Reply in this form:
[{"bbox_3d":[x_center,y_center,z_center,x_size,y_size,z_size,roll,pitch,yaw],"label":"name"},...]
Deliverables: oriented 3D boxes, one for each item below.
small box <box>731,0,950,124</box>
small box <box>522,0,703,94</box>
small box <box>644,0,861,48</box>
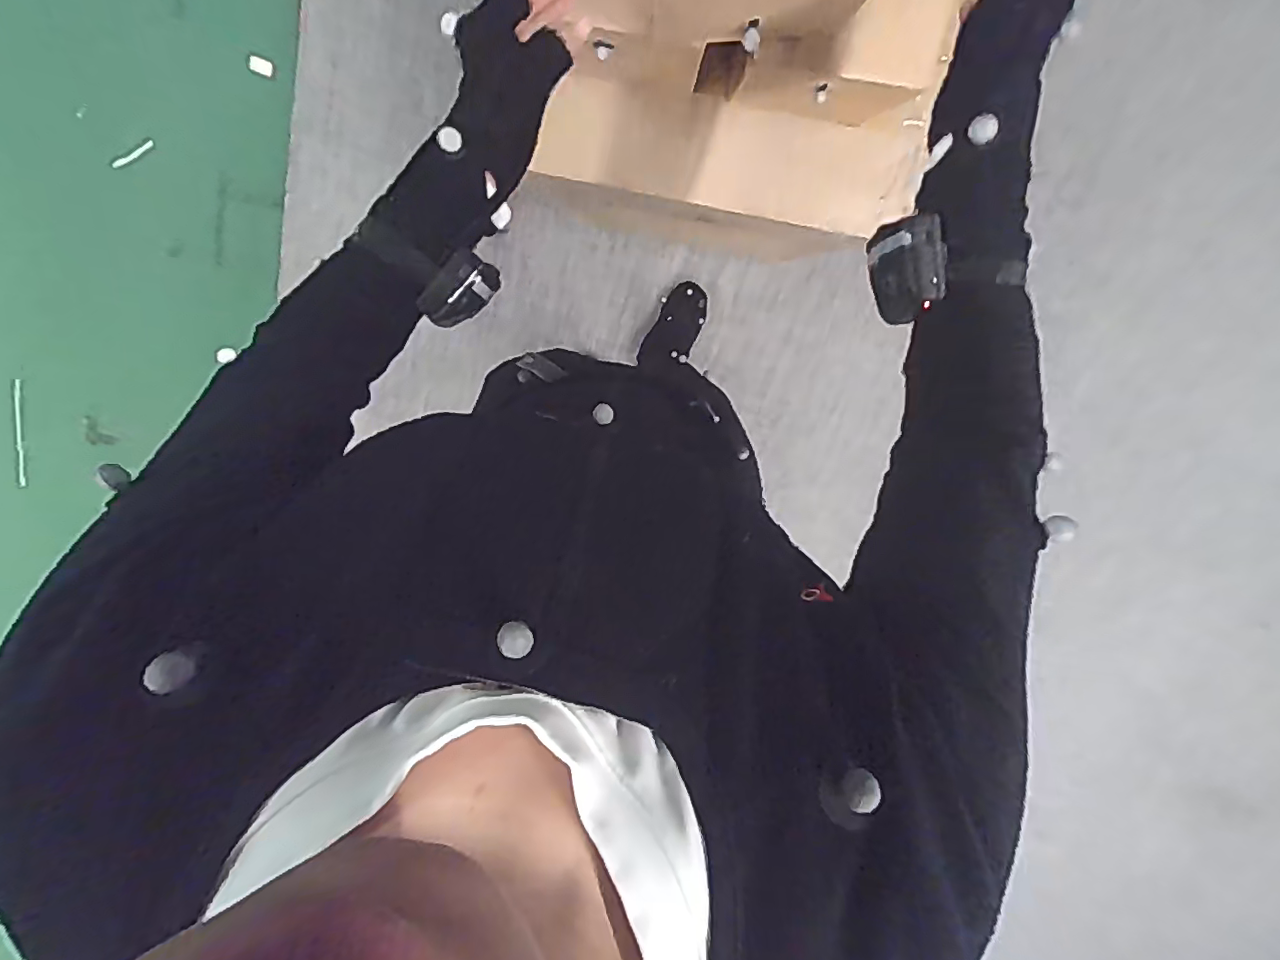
[{"bbox_3d":[0.200,-0.490,0.561,0.179,0.176,0.168,7,113,-3],"label":"small box"},{"bbox_3d":[-0.011,-0.522,0.551,0.179,0.176,0.168,8,113,-3],"label":"small box"},{"bbox_3d":[0.091,-0.451,0.402,0.179,0.176,0.168,-3,113,1],"label":"small box"}]
